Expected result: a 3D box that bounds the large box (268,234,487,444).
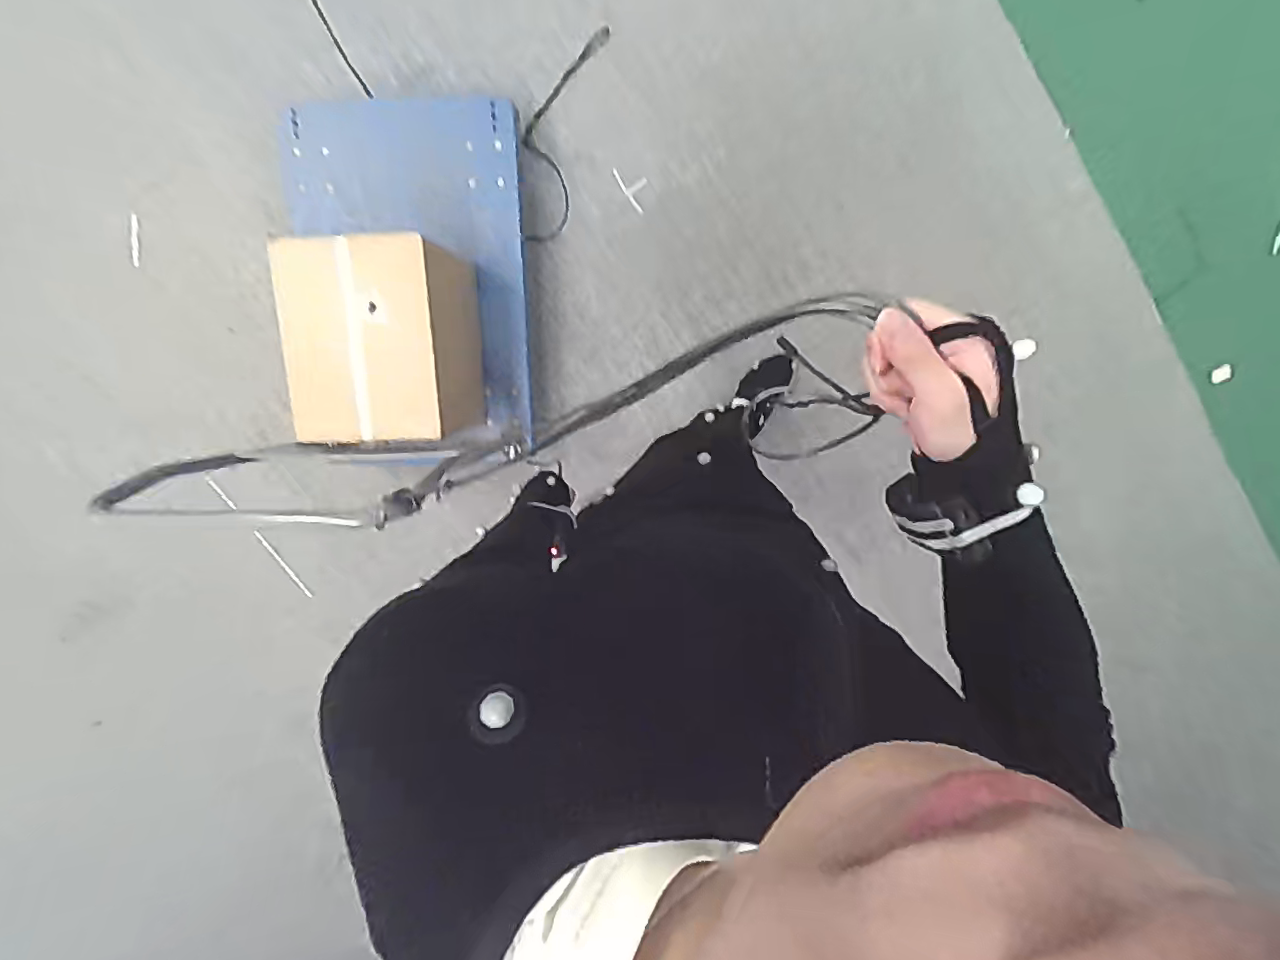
[{"bbox_3d":[-0.560,-0.300,1.229,0.320,0.320,0.408,-1,100,2],"label":"large box"}]
